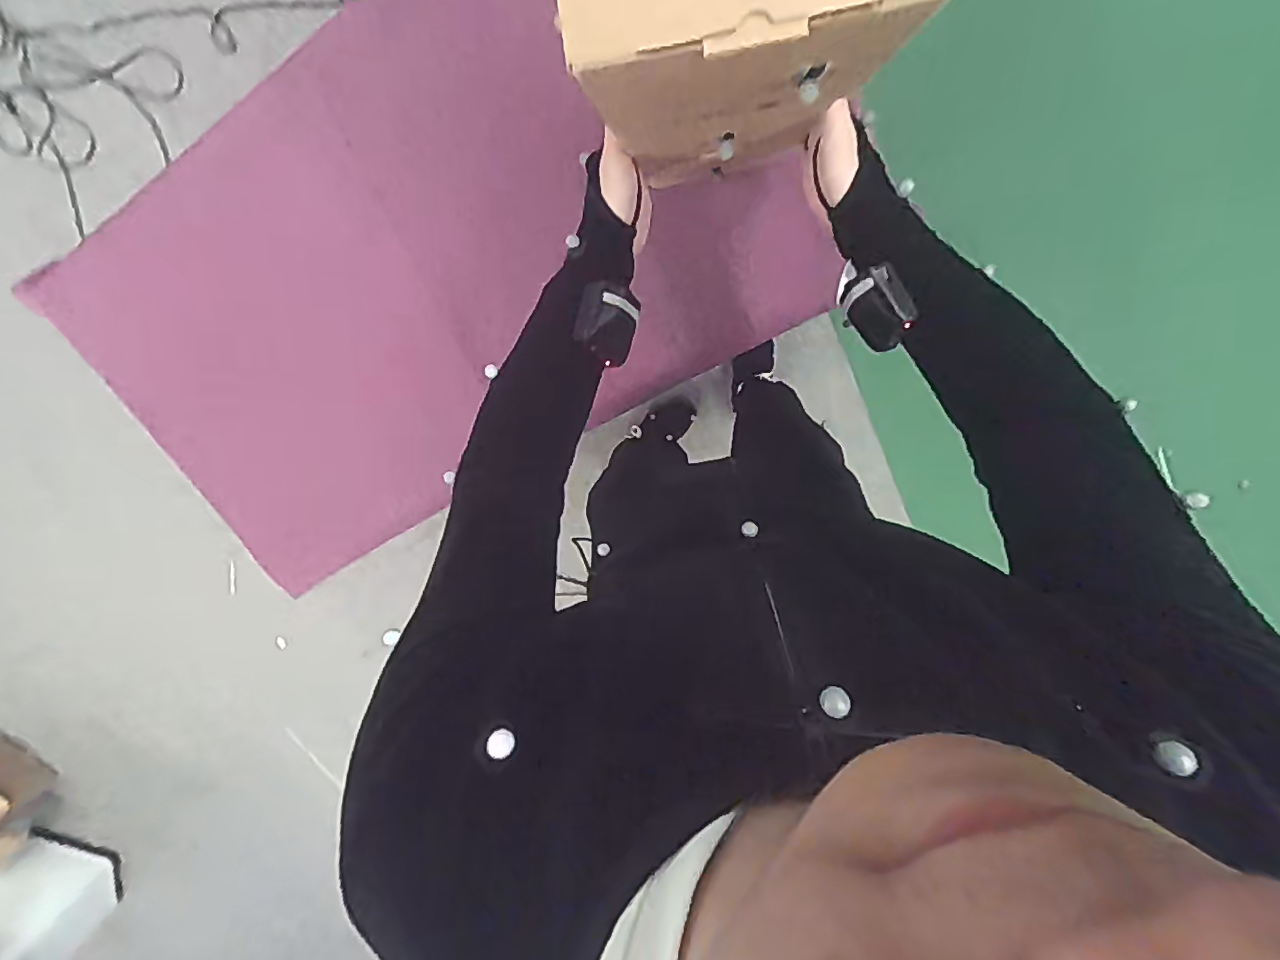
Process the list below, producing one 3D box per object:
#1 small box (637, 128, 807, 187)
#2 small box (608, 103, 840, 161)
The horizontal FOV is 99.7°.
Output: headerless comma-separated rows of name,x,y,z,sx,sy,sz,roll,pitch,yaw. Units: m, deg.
small box,0.074,-0.424,0.564,0.168,0.176,0.179,-6,113,10
small box,0.056,-0.359,0.415,0.168,0.176,0.179,-6,114,9
